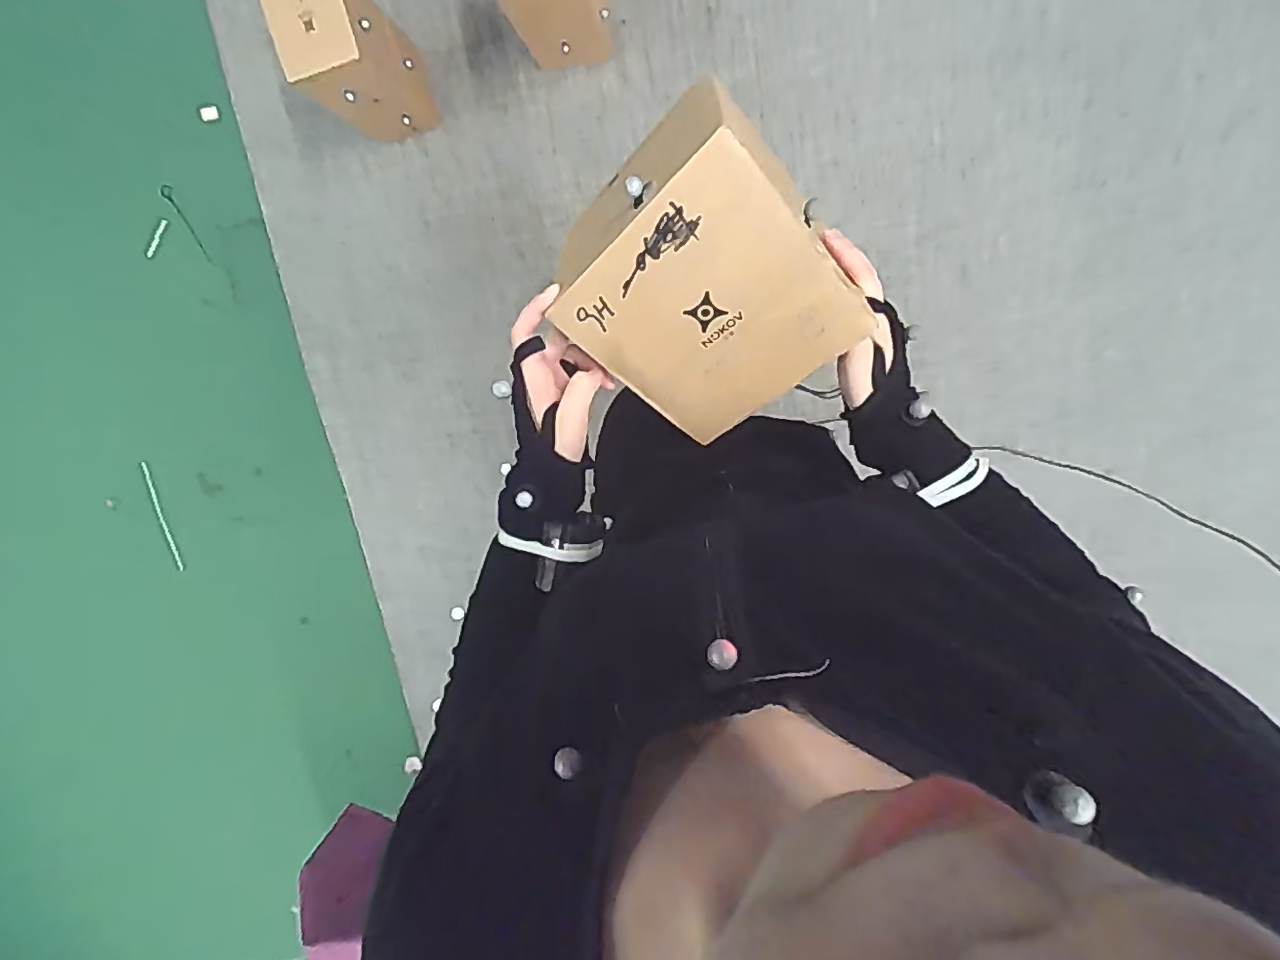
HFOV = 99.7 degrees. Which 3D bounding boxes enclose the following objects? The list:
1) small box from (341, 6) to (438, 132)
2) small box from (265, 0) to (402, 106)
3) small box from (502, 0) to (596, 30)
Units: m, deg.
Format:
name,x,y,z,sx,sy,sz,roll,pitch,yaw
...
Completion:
name,x,y,z,sx,sy,sz,roll,pitch,yaw
small box,-0.607,-0.957,1.282,0.168,0.176,0.179,-9,101,9
small box,-0.628,-0.916,1.124,0.168,0.176,0.179,-10,102,9
small box,-0.194,-1.017,1.043,0.179,0.176,0.168,-4,102,8
